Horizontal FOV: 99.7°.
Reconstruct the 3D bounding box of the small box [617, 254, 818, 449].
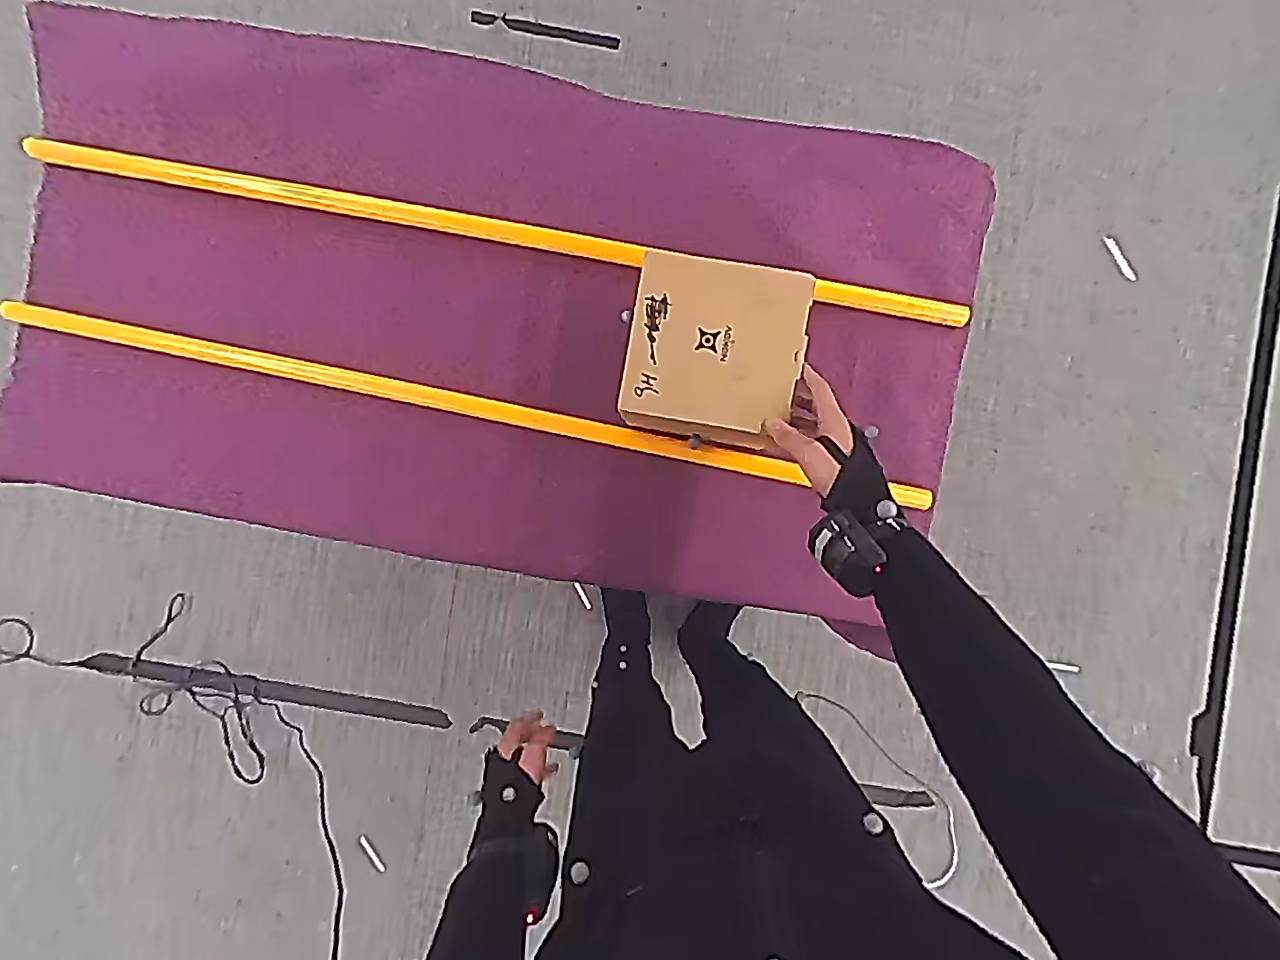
[{"bbox_3d":[0.079,-0.130,0.614,0.179,0.176,0.168,10,90,2],"label":"small box"}]
